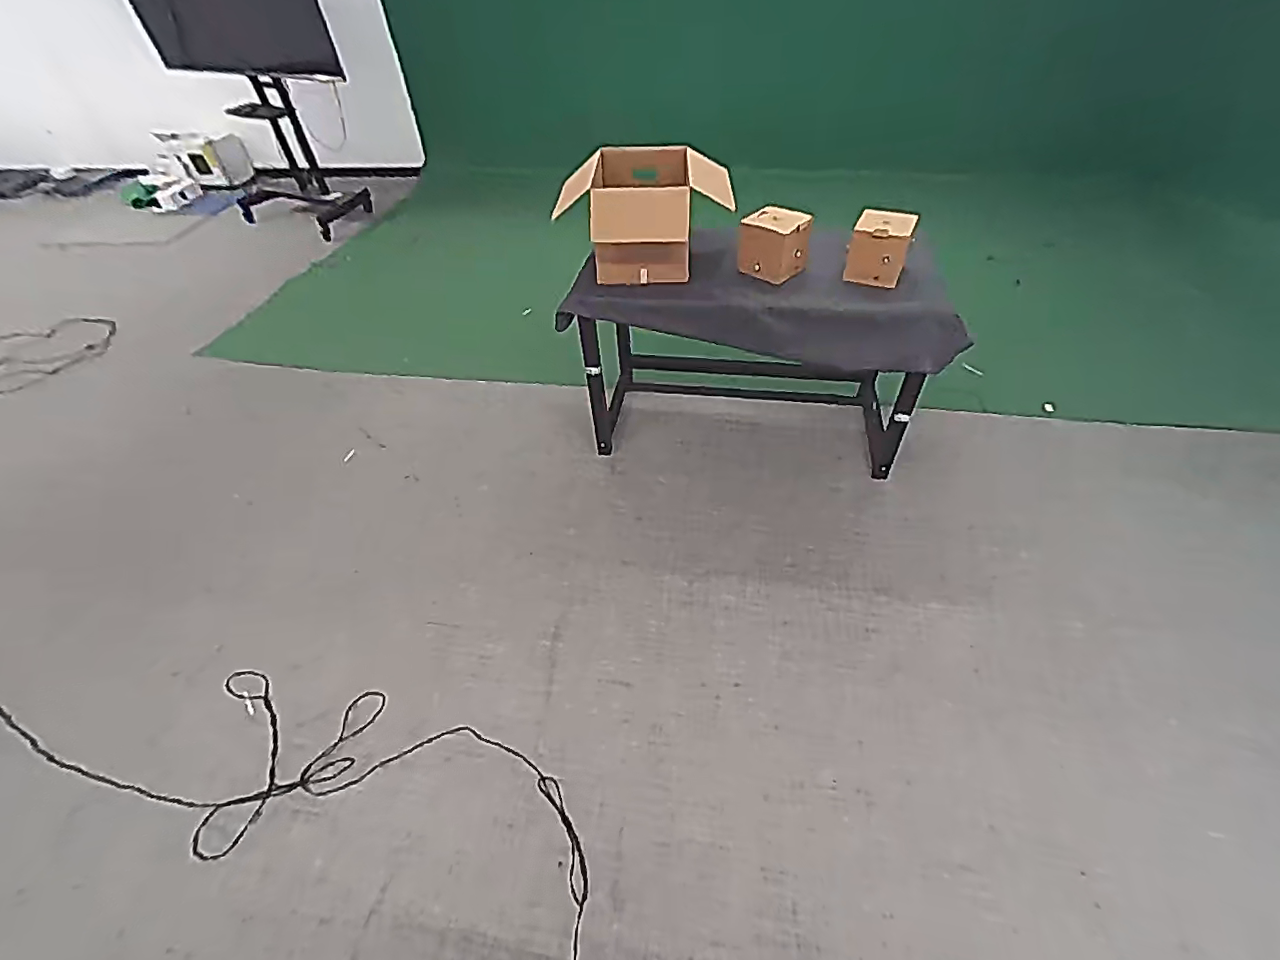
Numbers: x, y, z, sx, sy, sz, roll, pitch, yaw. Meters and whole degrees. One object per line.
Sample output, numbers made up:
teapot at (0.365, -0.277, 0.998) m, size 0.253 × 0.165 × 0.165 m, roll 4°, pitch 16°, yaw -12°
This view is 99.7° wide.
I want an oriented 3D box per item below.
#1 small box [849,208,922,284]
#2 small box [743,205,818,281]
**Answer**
small box at (0.786, -0.752, 1.742) m, size 0.168 × 0.176 × 0.179 m, roll 19°, pitch 50°, yaw 20°
small box at (0.462, -0.787, 1.804) m, size 0.179 × 0.176 × 0.168 m, roll 34°, pitch 58°, yaw 30°
